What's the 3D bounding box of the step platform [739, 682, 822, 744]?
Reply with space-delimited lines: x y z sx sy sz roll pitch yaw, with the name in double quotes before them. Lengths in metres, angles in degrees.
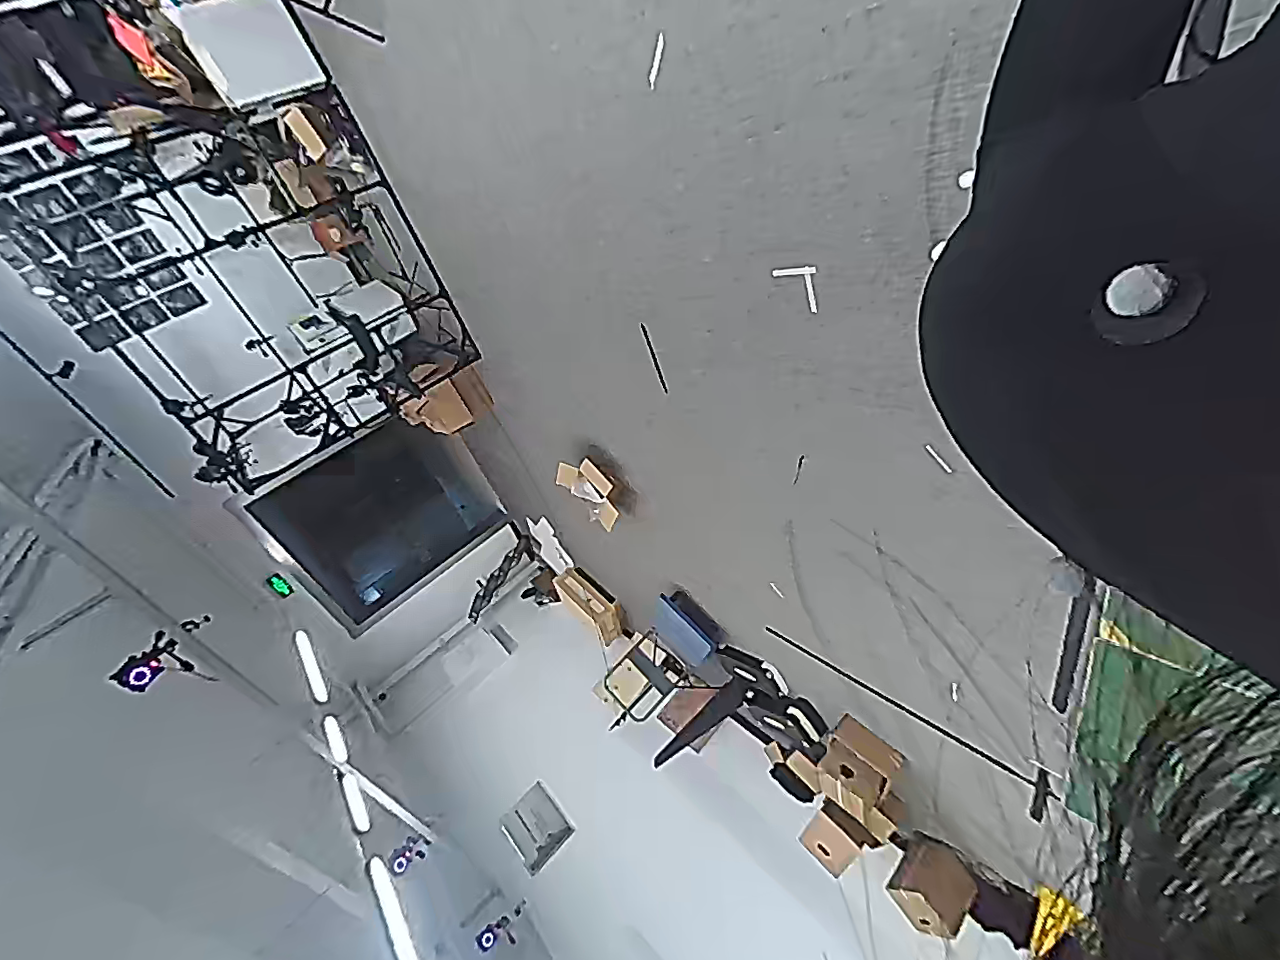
"step platform" 1.047 1.766 4.116 0.286 0.204 0.684 54 155 -7
